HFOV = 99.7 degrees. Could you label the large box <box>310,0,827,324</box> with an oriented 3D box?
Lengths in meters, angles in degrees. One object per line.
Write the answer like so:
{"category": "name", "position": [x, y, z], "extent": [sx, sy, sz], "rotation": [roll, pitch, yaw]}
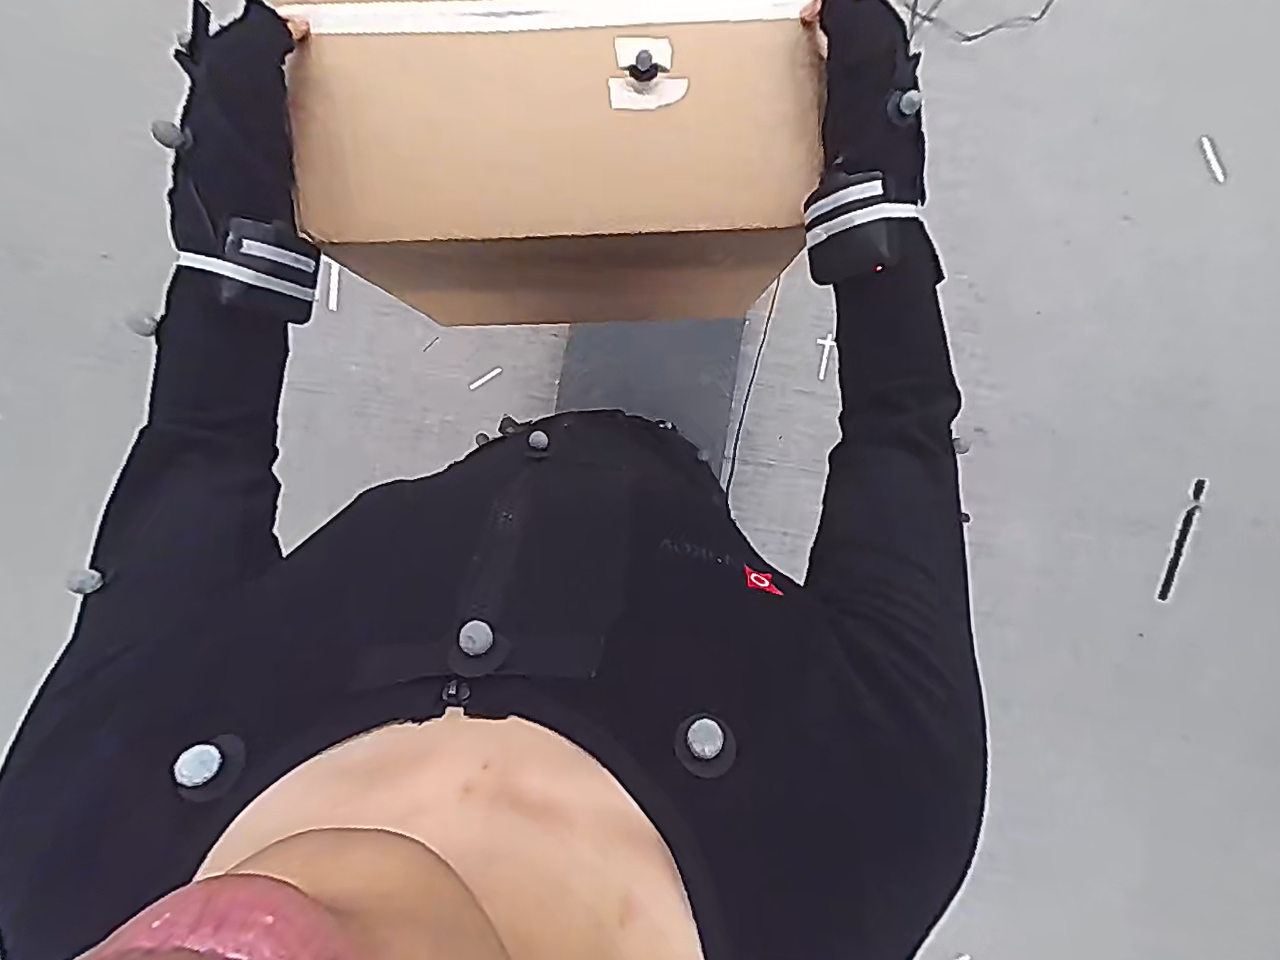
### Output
{"category": "large box", "position": [-0.060, -0.360, 0.568], "extent": [0.408, 0.320, 0.320], "rotation": [-2, 94, -1]}
